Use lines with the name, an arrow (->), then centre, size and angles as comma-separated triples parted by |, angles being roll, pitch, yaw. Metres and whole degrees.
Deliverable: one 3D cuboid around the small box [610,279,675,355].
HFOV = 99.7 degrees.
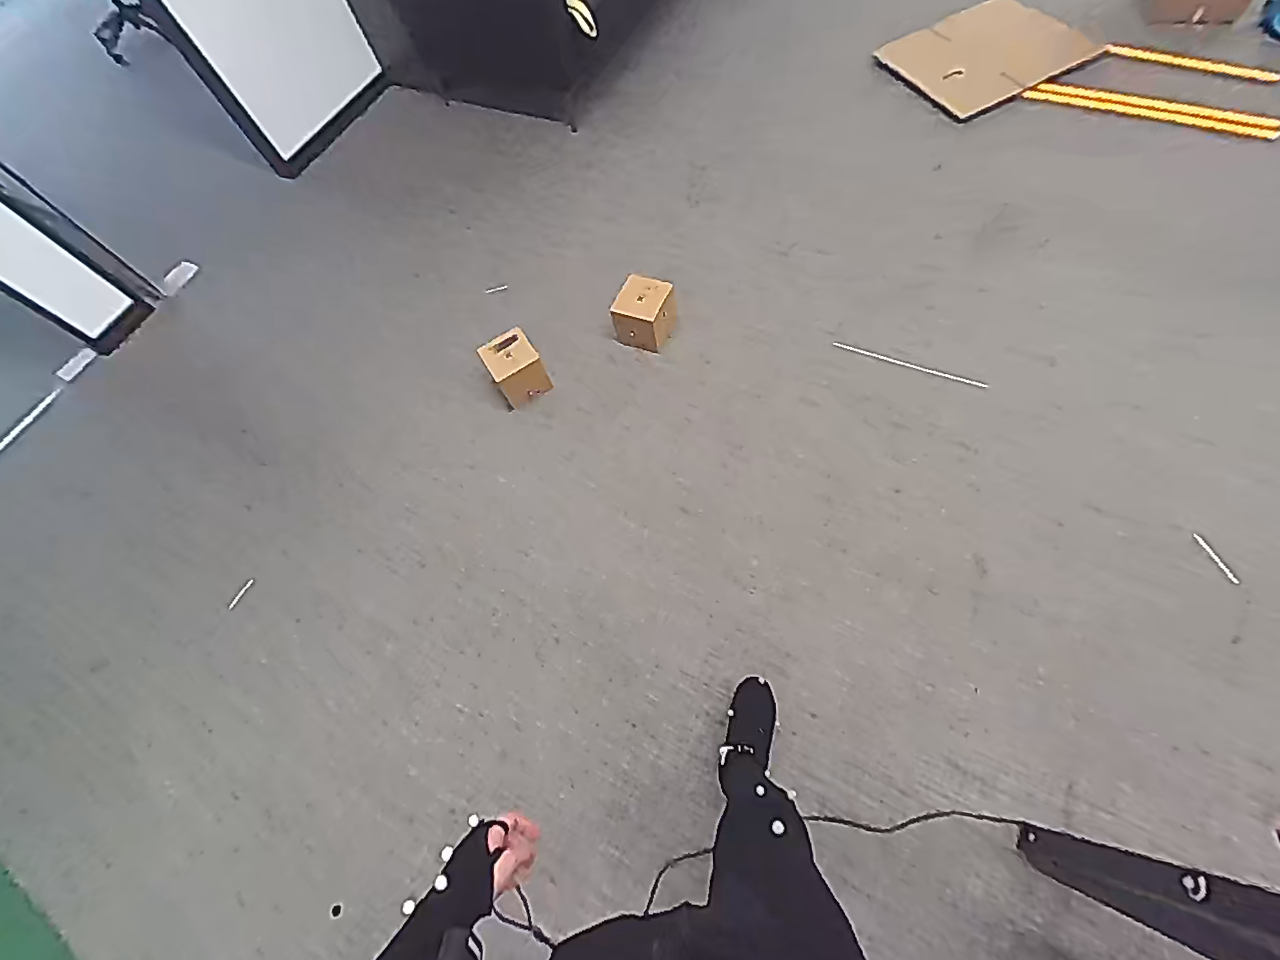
small box -> 0.017, -0.570, 1.909 | 0.168, 0.176, 0.179 | 20, 69, 17
